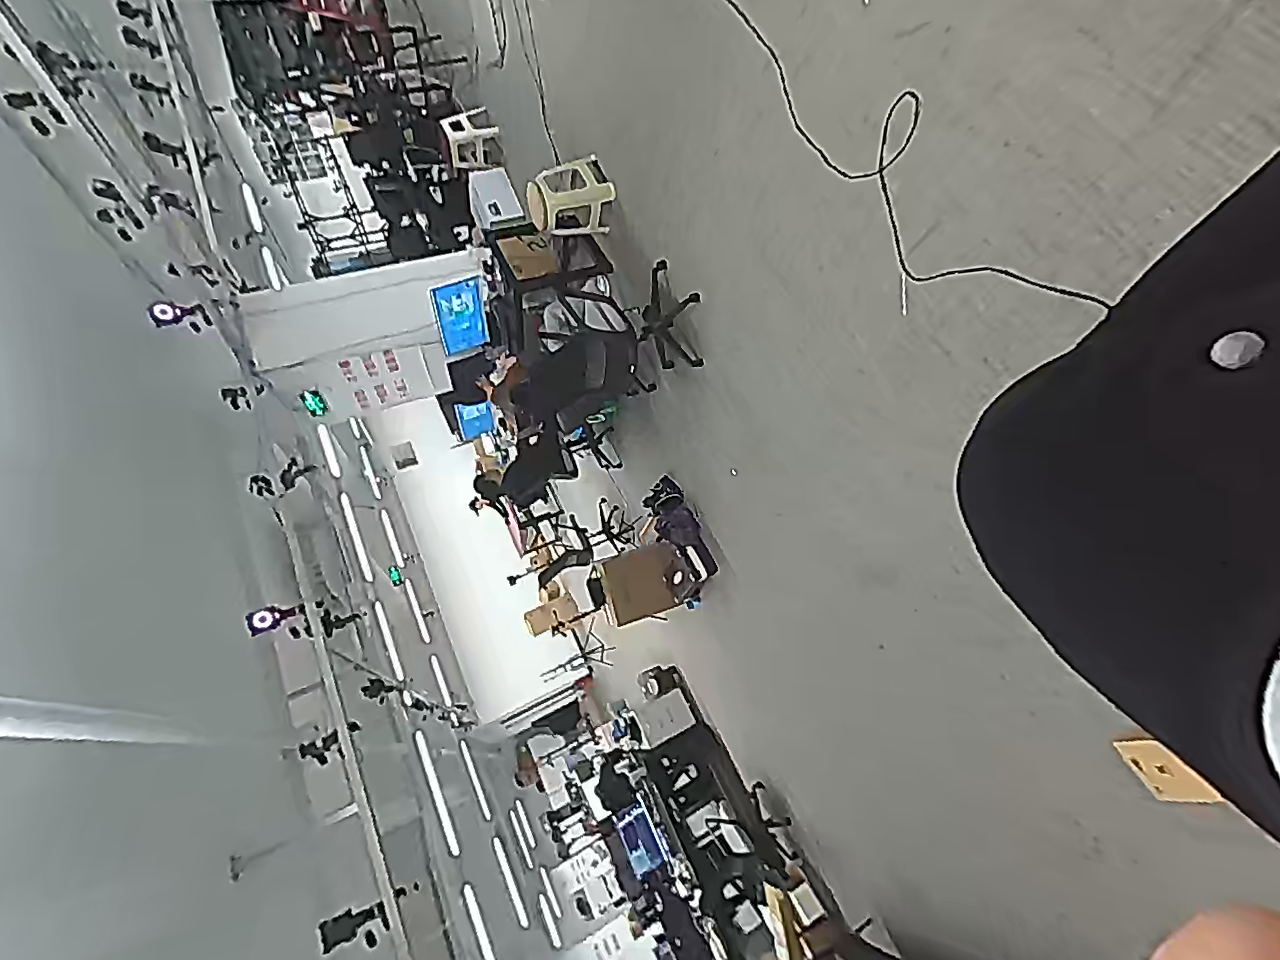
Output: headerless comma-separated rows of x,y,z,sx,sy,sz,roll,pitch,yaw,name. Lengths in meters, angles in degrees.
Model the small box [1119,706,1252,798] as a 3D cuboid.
1.486,0.734,1.468,0.168,0.176,0.179,59,159,22,small box
